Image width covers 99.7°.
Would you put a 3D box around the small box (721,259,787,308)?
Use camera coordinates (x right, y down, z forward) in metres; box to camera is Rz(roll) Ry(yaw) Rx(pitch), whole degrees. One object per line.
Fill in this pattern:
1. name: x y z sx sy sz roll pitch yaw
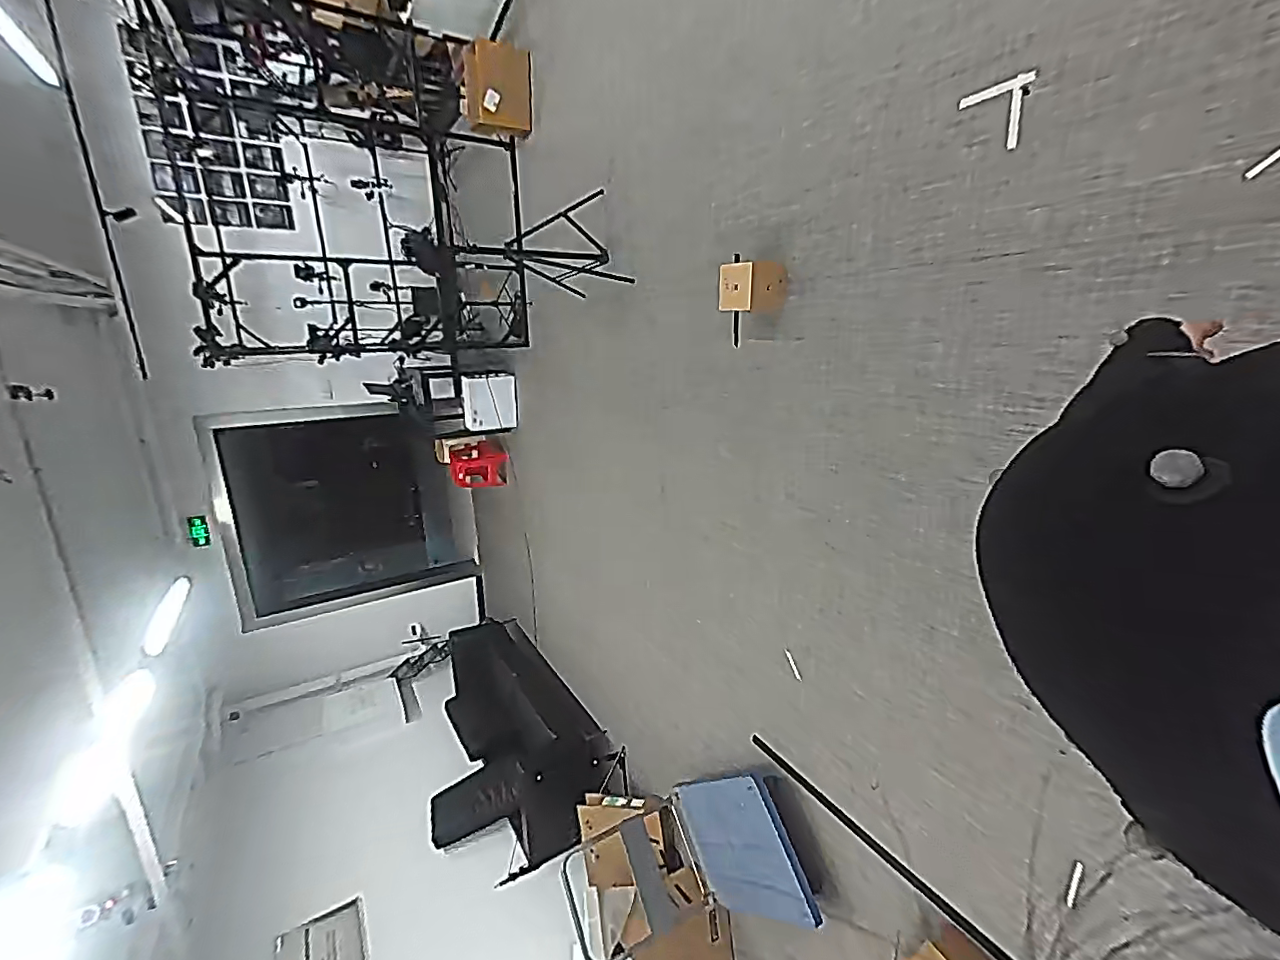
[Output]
1. small box: 0.424 -0.727 2.003 0.179 0.176 0.168 27 122 55
